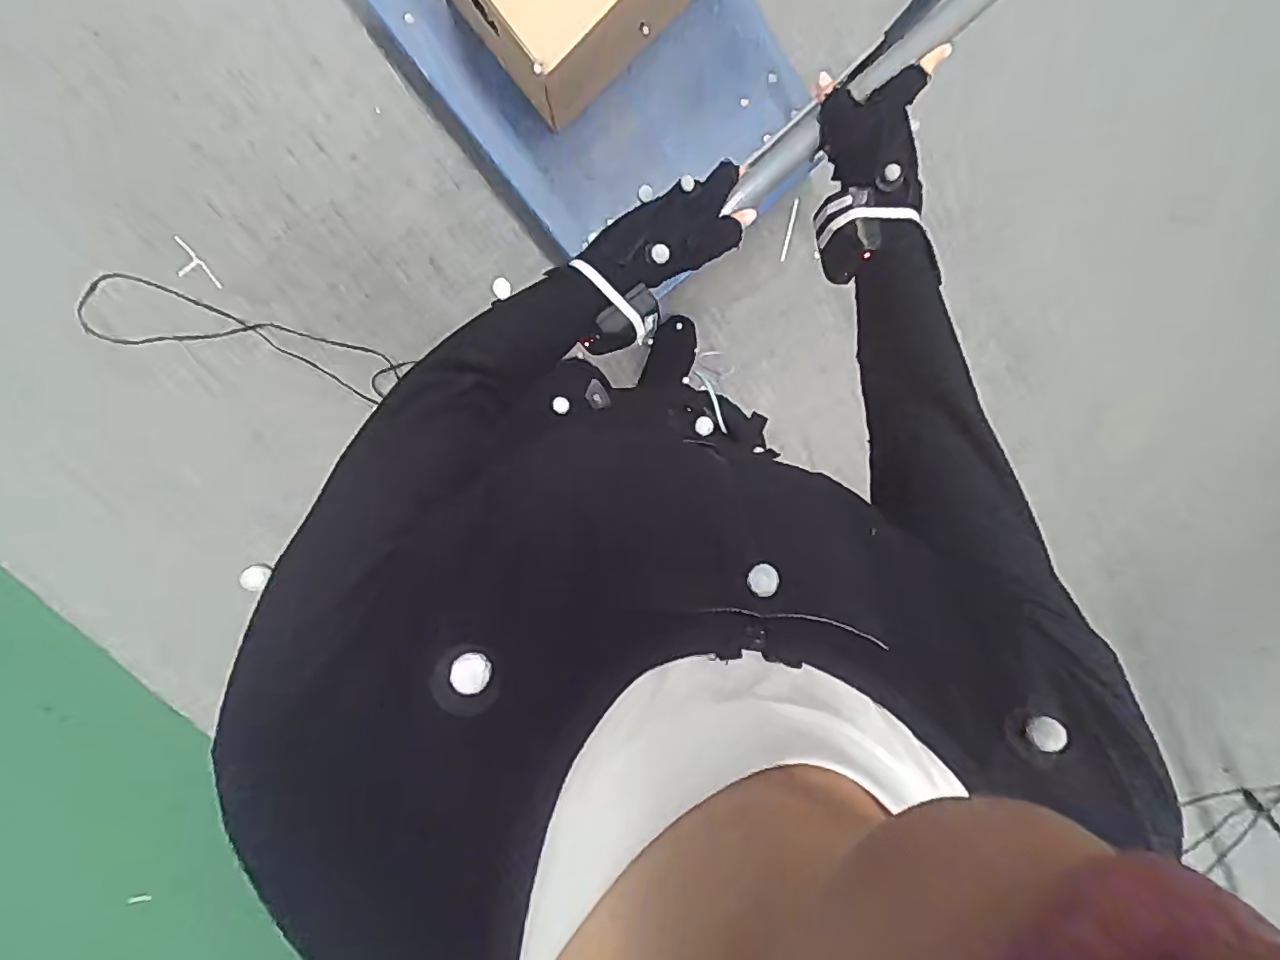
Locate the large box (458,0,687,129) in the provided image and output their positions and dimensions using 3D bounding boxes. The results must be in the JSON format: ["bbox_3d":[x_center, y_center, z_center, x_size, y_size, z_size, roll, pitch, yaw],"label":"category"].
[{"bbox_3d":[-0.094,-0.882,0.868,0.408,0.320,0.320,-41,106,10],"label":"large box"}]
